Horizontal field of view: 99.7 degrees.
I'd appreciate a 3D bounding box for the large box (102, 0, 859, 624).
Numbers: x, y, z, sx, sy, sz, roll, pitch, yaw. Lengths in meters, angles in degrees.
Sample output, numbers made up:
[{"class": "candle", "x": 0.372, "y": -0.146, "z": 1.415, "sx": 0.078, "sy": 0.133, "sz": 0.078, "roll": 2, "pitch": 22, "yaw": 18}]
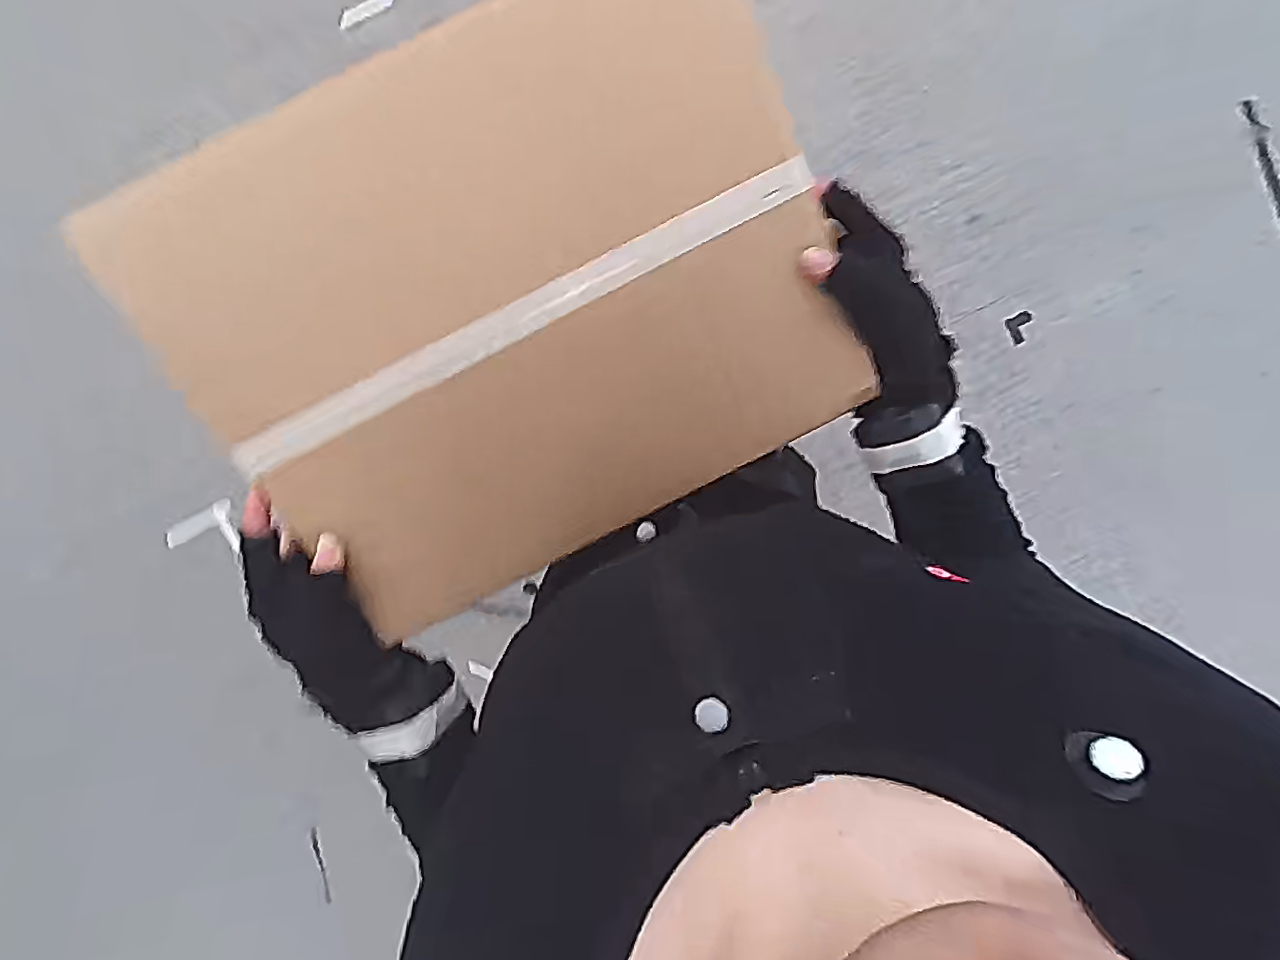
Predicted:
[{"class": "large box", "x": -0.098, "y": -0.148, "z": 0.499, "sx": 0.408, "sy": 0.320, "sz": 0.320, "roll": -27, "pitch": 108, "yaw": 0}]
